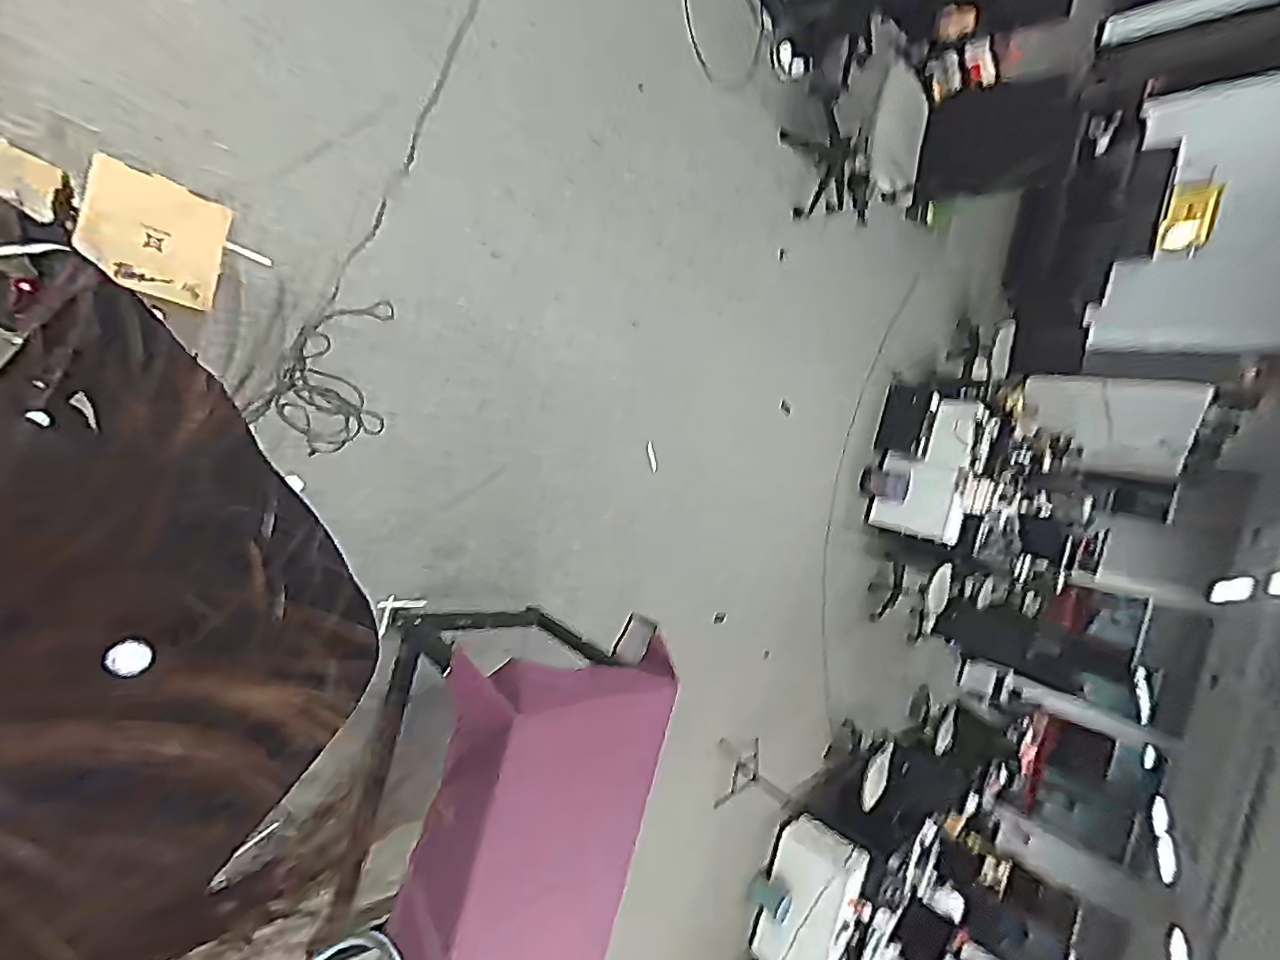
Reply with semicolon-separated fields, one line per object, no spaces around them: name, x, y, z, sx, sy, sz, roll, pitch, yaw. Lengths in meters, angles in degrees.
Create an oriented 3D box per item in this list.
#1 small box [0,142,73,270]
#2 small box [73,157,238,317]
small box;-1.044;-0.449;0.853;0.179;0.176;0.168;22;86;-45
small box;-0.792;-0.383;0.886;0.168;0.176;0.179;14;91;-45
